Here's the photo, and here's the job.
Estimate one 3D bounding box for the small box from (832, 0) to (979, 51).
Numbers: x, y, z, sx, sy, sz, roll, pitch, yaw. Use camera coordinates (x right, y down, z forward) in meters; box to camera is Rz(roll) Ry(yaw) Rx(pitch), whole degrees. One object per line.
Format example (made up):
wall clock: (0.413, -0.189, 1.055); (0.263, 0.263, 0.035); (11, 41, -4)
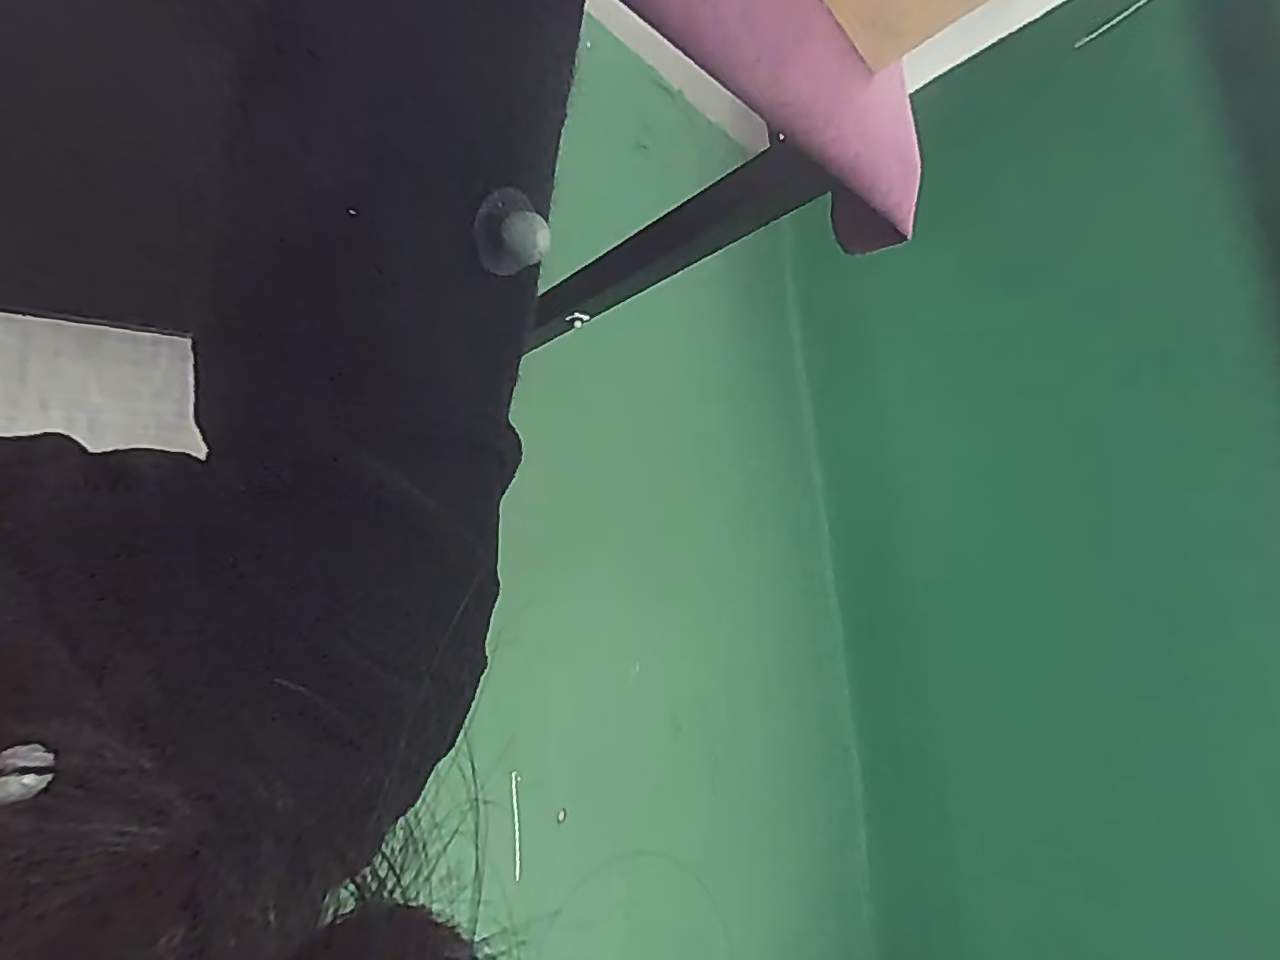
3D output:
small box: (0.186, -0.426, 0.336); (0.179, 0.176, 0.168); (-1, 82, -46)
